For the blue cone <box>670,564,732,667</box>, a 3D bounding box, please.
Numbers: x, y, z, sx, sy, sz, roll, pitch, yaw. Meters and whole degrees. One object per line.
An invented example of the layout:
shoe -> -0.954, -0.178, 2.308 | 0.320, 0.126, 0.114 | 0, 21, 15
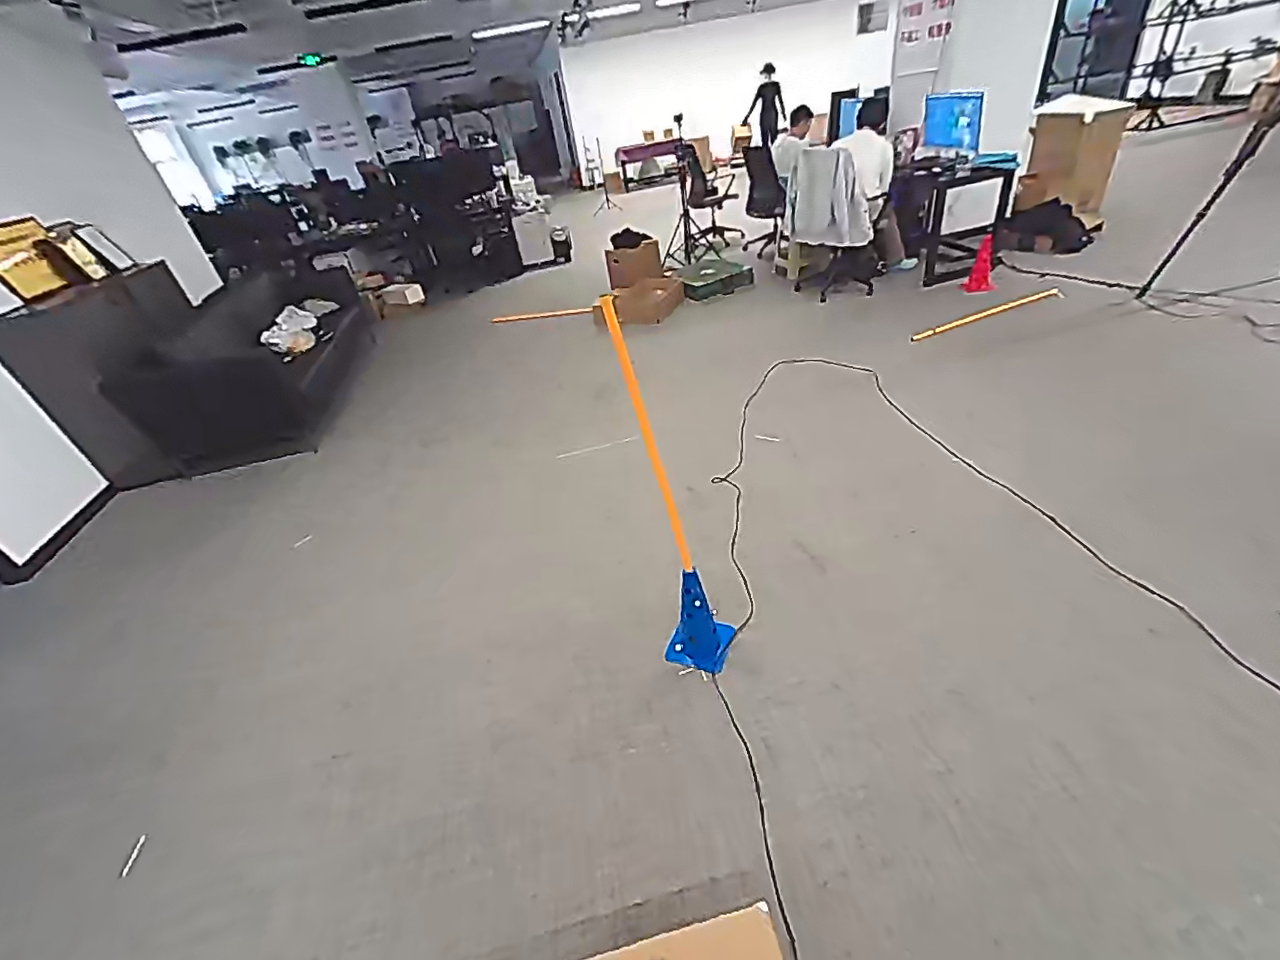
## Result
blue cone -> 0.180, 0.416, 1.741 | 0.192, 0.380, 0.193 | 5, 39, 23
